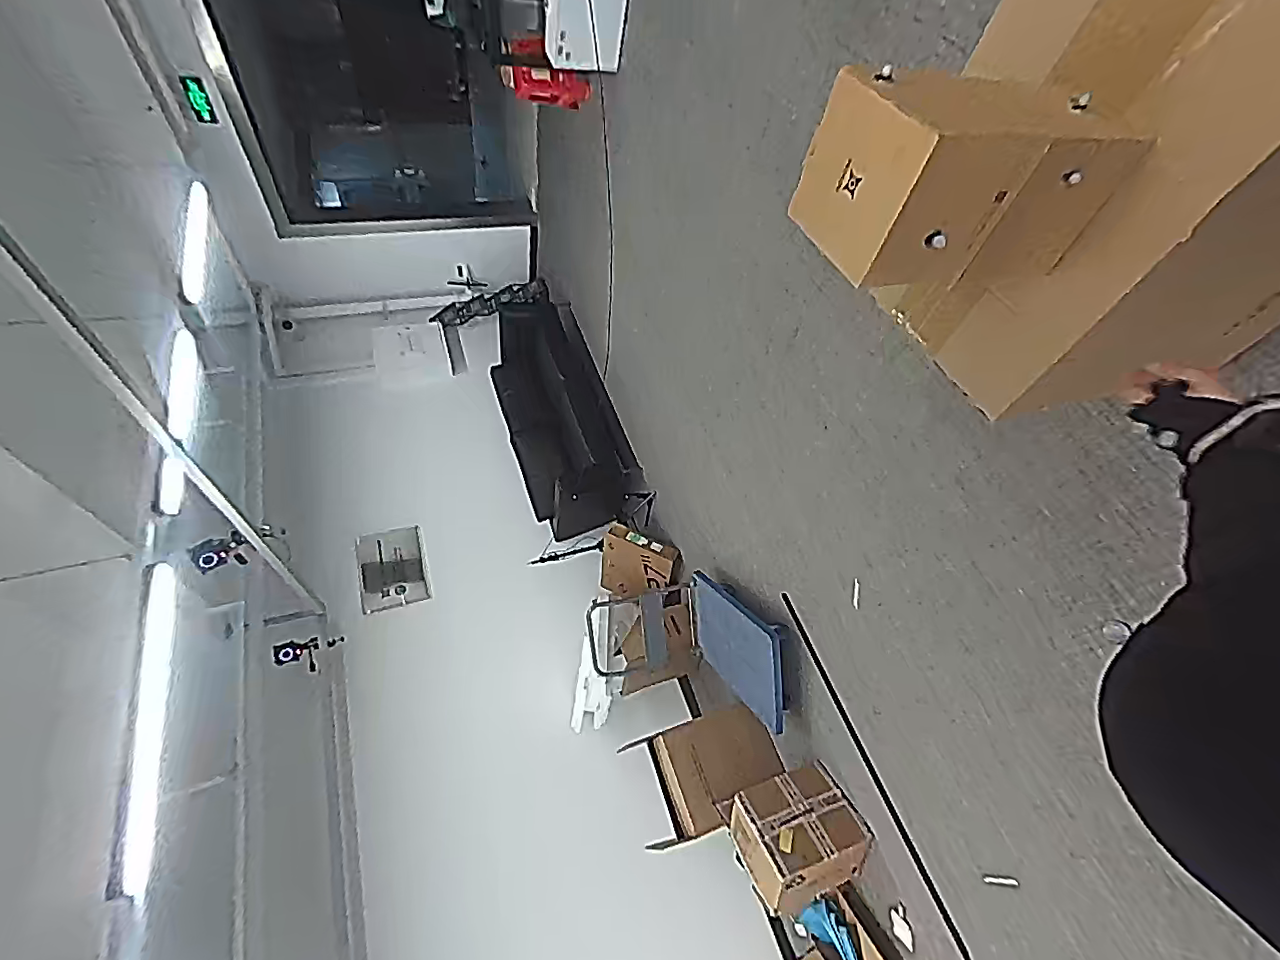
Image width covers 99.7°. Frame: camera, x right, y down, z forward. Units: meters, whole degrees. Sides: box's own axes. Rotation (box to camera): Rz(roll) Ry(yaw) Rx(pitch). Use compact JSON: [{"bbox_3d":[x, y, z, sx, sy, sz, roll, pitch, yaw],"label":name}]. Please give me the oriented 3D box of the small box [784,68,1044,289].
[{"bbox_3d":[0.304,-0.349,0.626,0.168,0.176,0.179,103,150,-52],"label":"small box"}]
